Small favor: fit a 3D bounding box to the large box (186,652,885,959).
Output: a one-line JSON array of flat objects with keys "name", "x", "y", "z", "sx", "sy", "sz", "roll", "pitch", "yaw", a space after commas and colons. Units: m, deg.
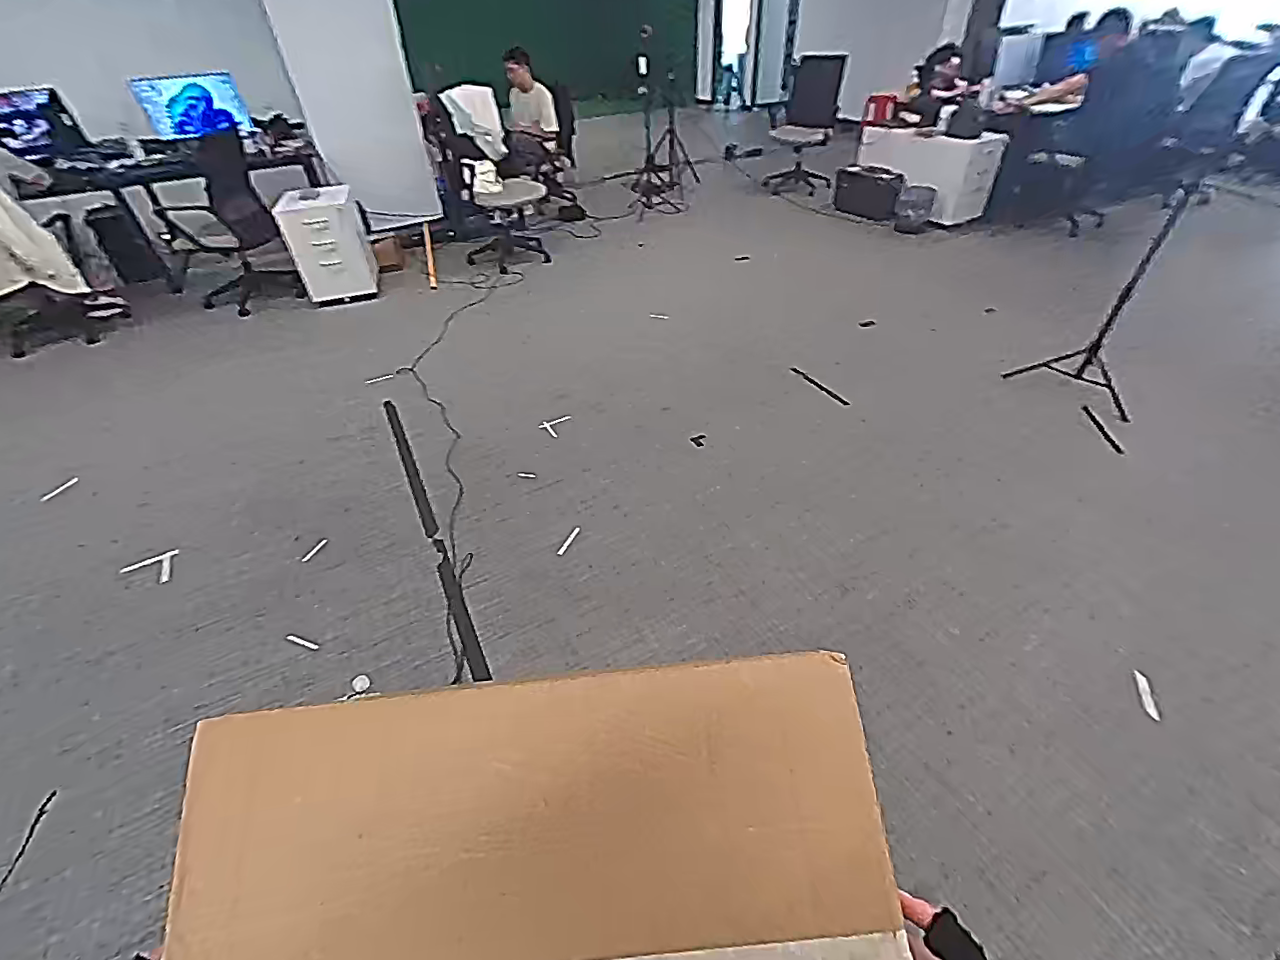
[{"name": "large box", "x": -0.059, "y": 0.327, "z": 0.443, "sx": 0.408, "sy": 0.320, "sz": 0.320, "roll": -6, "pitch": 72, "yaw": -1}]
